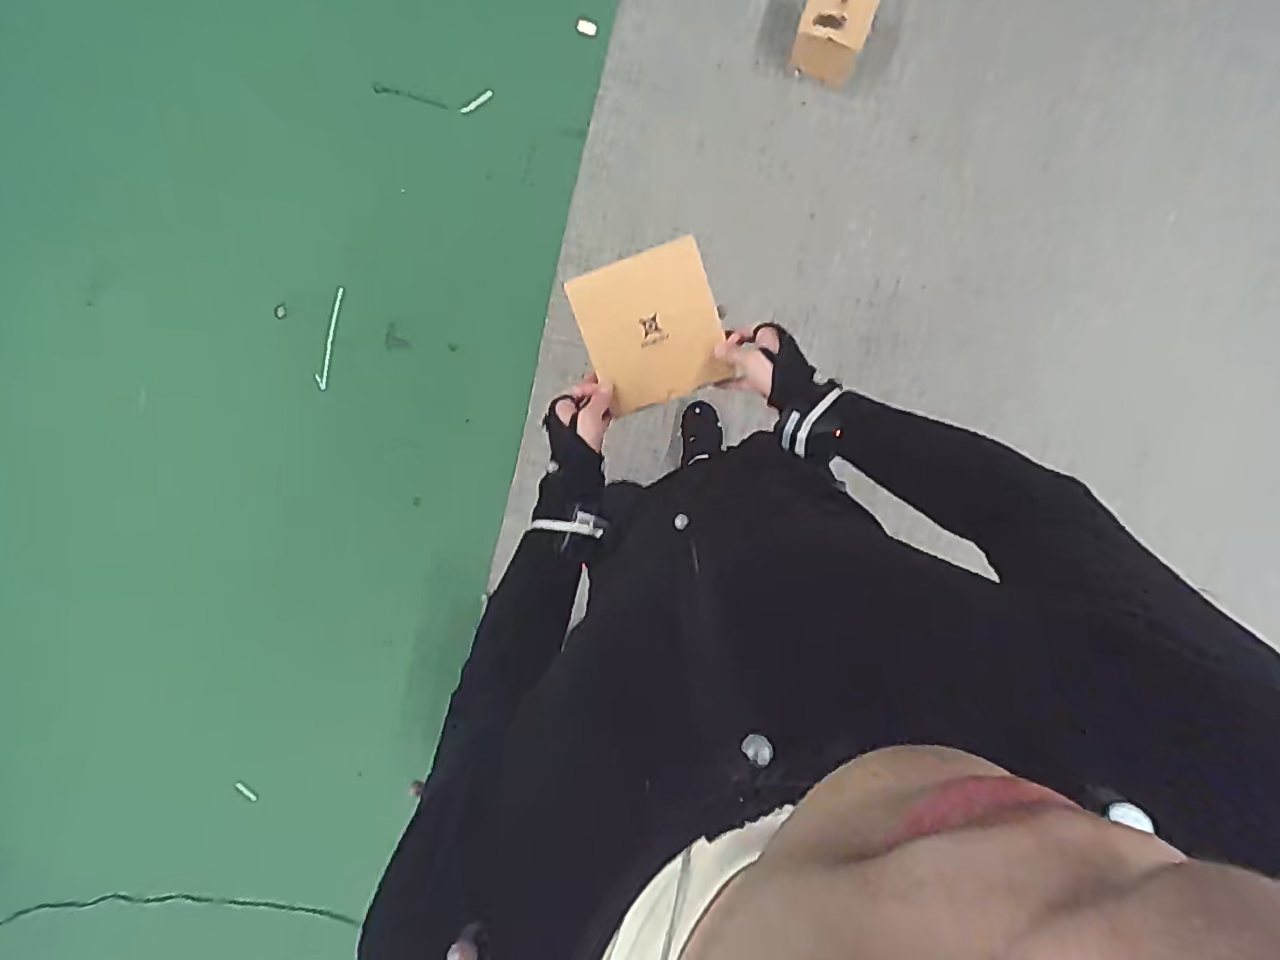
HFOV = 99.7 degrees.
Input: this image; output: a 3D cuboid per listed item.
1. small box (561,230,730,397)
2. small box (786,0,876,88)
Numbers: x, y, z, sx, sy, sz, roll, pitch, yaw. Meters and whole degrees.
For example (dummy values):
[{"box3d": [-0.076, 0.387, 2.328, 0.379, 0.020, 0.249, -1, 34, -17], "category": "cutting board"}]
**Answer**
[{"box3d": [0.005, -0.218, 0.727, 0.179, 0.176, 0.168, 12, 106, -3], "category": "small box"}, {"box3d": [0.485, -1.155, 1.382, 0.168, 0.176, 0.179, 19, 97, 2], "category": "small box"}]
